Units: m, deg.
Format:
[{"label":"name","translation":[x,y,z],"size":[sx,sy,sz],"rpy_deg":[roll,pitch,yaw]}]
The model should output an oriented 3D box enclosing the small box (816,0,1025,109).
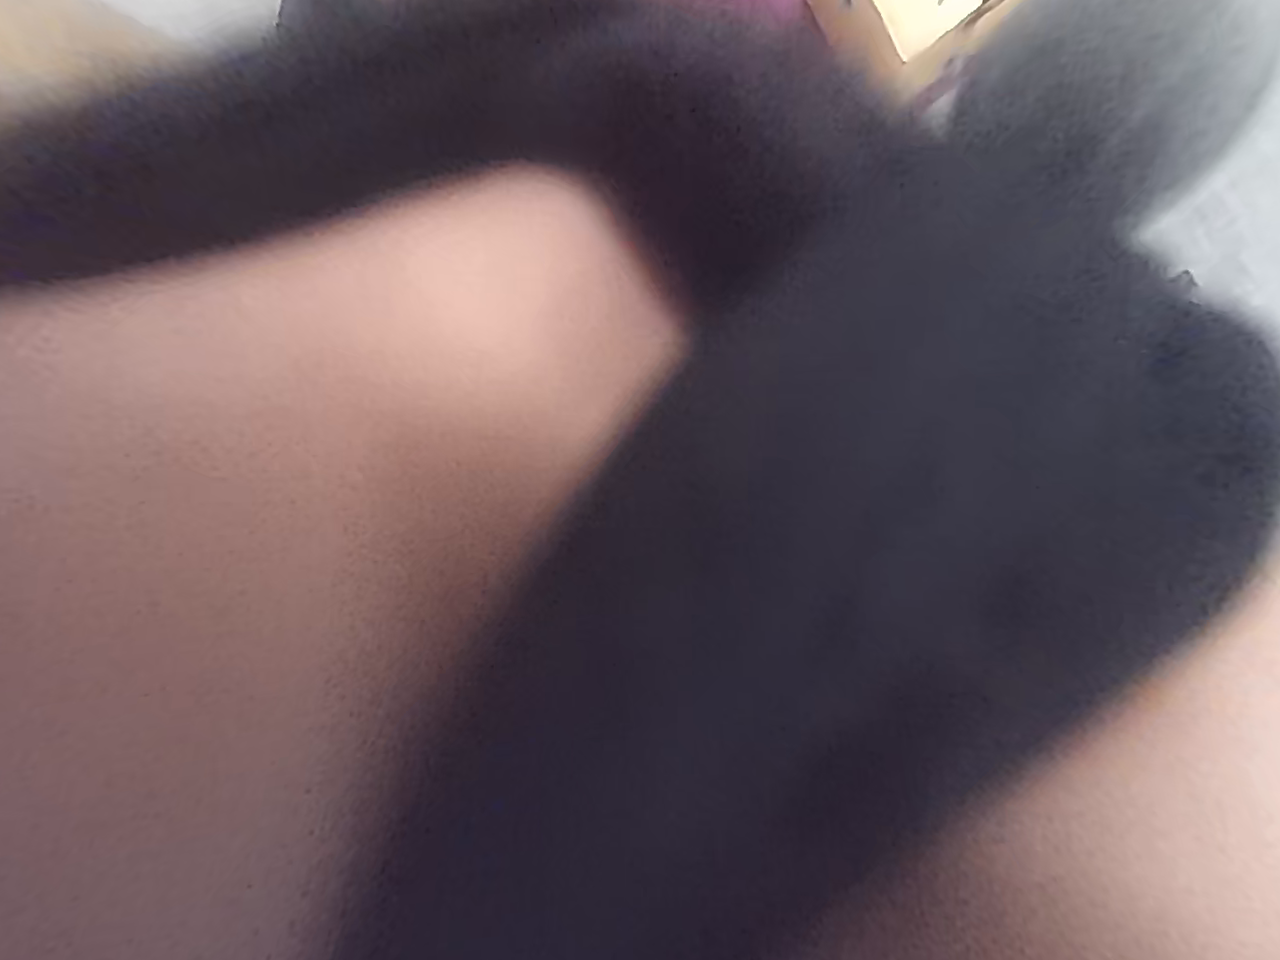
[{"label":"small box","translation":[0.293,-0.537,0.556],"size":[0.168,0.176,0.179],"rpy_deg":[-30,98,20]}]
